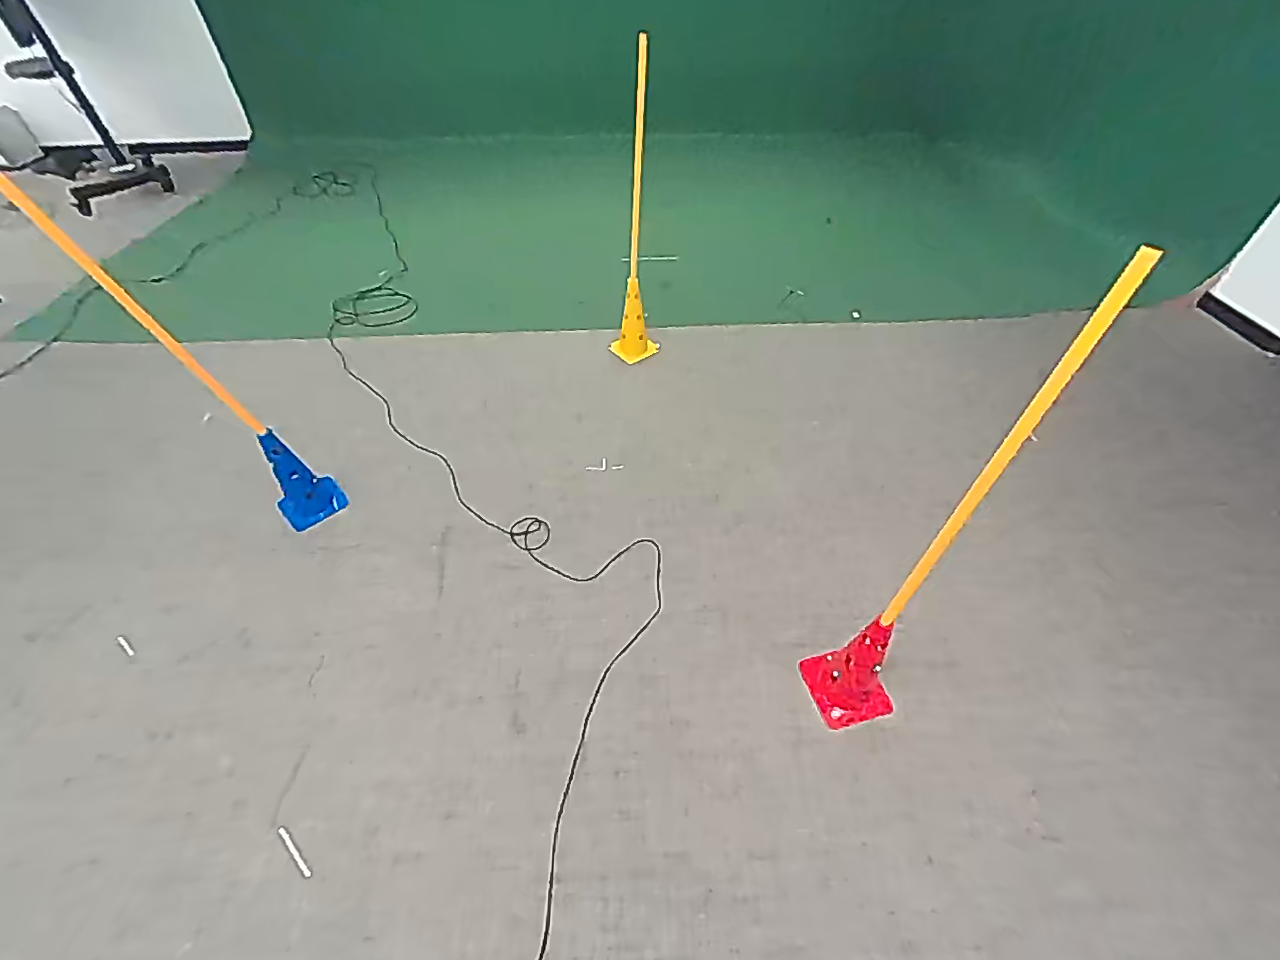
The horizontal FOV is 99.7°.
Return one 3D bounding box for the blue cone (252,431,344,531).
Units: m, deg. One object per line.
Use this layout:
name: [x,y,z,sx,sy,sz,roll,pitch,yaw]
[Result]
blue cone: [-1.192,-0.016,1.833,0.192,0.380,0.193,35,58,28]
